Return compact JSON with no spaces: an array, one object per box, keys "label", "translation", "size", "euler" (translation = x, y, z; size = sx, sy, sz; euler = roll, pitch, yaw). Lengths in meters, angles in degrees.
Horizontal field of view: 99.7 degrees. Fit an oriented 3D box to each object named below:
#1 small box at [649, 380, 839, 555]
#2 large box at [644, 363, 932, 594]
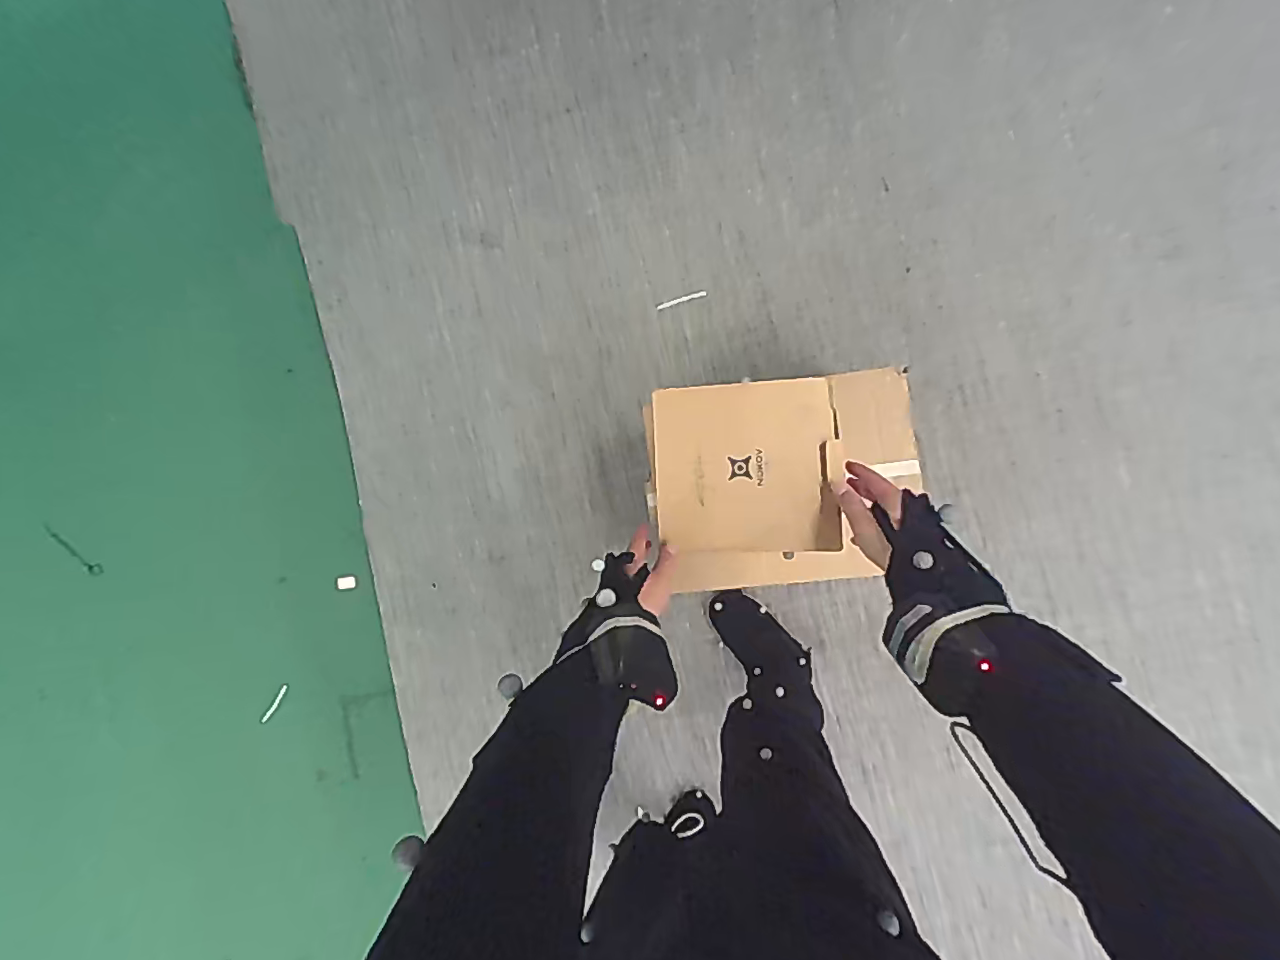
[{"label":"small box","translation":[0.112,-0.008,0.597],"size":[0.179,0.176,0.168],"euler":[-3,87,12]},{"label":"large box","translation":[0.245,0.006,0.987],"size":[0.408,0.320,0.320],"euler":[-8,89,10]}]
